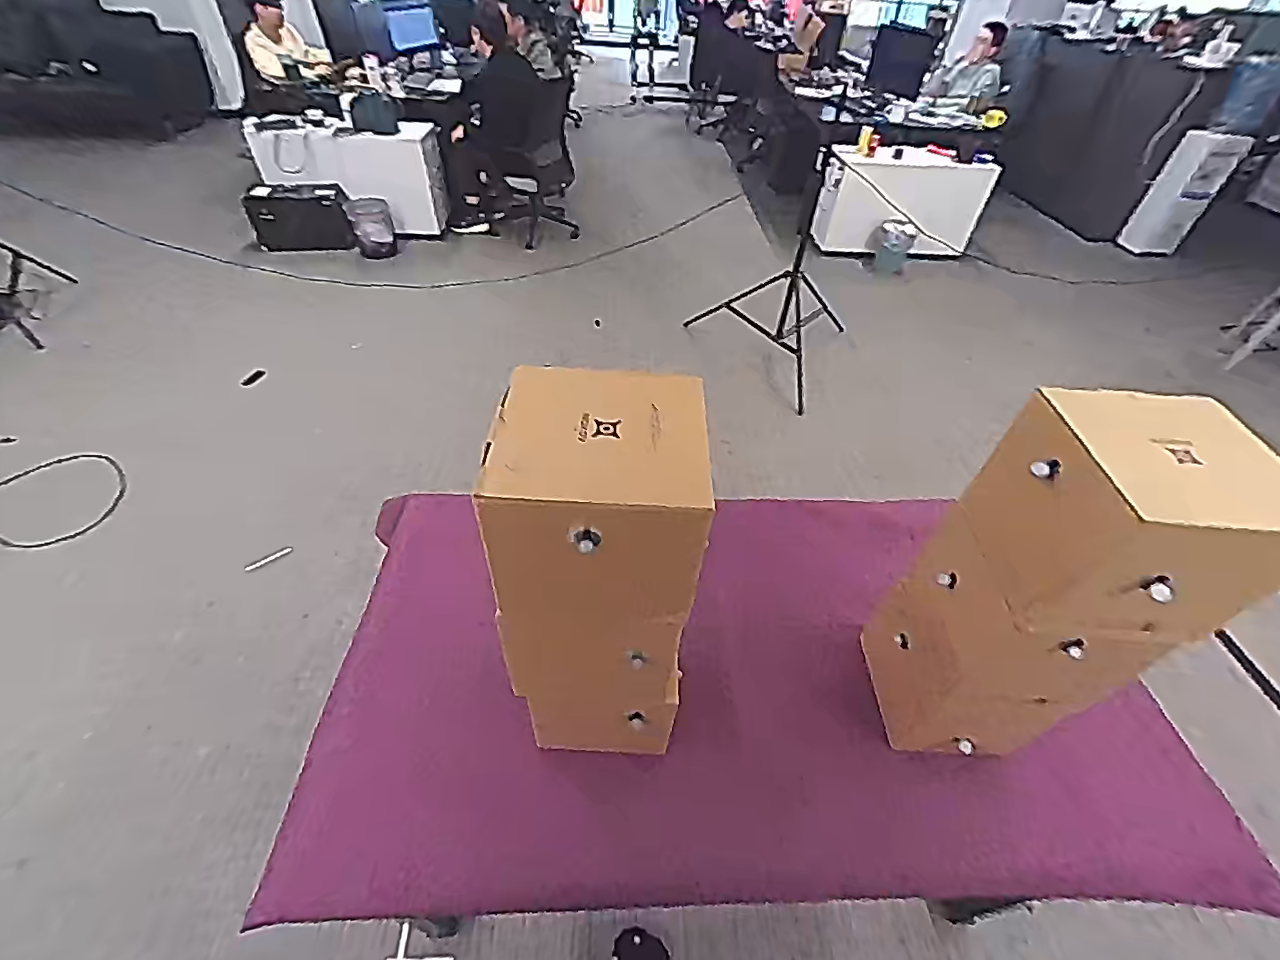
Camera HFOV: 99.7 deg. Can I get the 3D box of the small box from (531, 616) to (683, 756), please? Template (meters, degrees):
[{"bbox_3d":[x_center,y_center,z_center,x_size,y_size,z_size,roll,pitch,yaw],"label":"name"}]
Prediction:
[{"bbox_3d":[-0.039,0.254,0.726,0.179,0.176,0.168,3,44,0],"label":"small box"}]

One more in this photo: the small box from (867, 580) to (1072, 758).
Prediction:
[{"bbox_3d":[0.438,0.261,0.749,0.168,0.176,0.179,2,45,0],"label":"small box"}]

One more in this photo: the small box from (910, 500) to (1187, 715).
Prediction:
[{"bbox_3d":[0.444,0.147,0.631,0.168,0.176,0.179,4,44,1],"label":"small box"}]

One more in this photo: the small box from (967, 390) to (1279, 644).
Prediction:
[{"bbox_3d":[0.453,0.036,0.512,0.168,0.176,0.179,4,44,1],"label":"small box"}]

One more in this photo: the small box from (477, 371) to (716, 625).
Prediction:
[{"bbox_3d":[-0.033,0.019,0.498,0.179,0.176,0.168,3,45,-2],"label":"small box"}]
